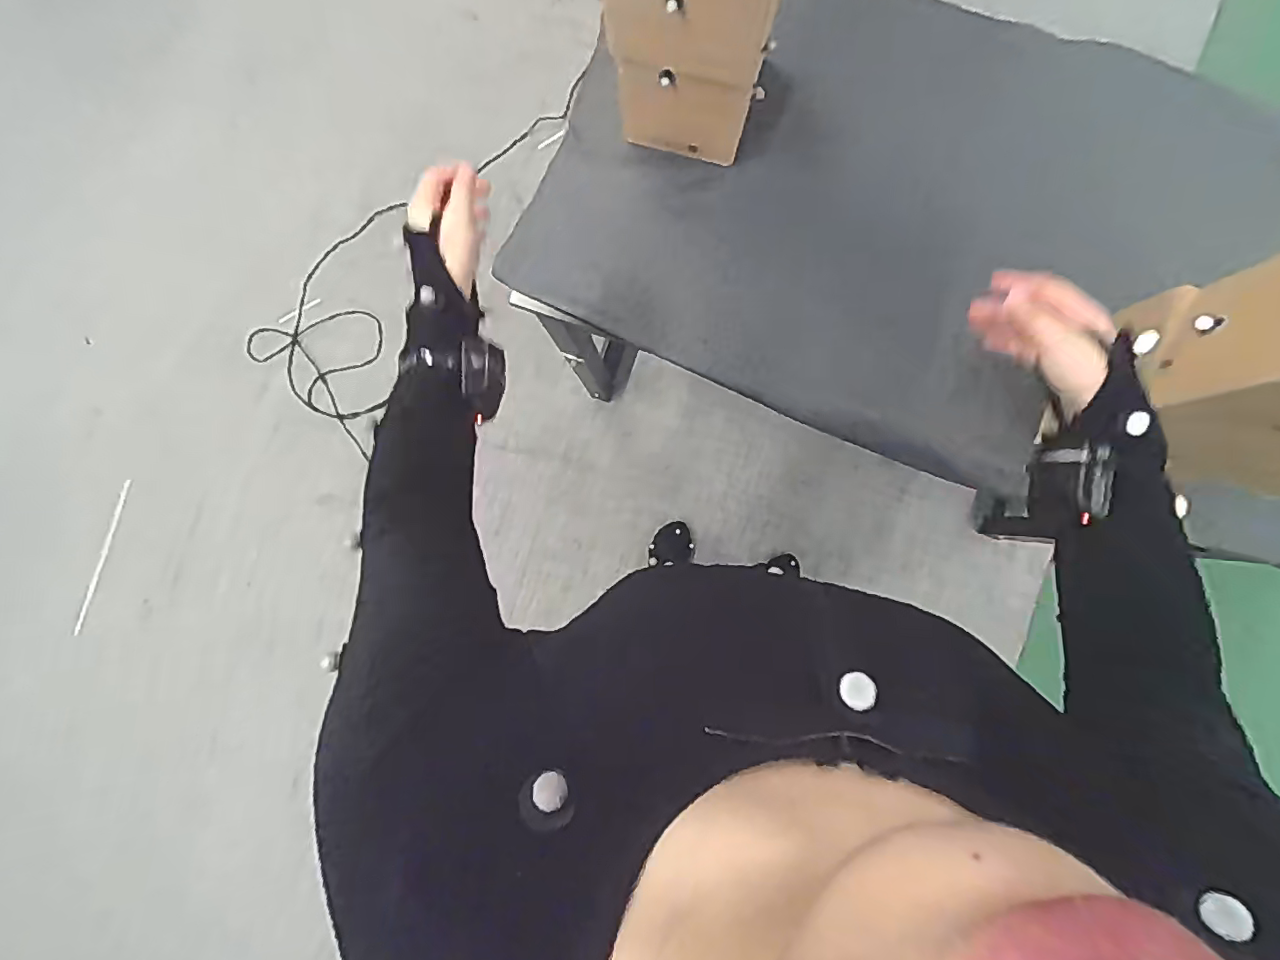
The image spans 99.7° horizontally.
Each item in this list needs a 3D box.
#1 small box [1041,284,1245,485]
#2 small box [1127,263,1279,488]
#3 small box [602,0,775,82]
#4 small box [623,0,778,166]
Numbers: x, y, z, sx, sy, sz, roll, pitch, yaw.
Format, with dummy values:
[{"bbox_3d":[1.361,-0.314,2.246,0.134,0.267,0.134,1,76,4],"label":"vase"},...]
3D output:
[{"bbox_3d":[0.646,-0.103,0.664,0.168,0.176,0.179,21,88,5],"label":"small box"},{"bbox_3d":[0.633,-0.100,0.502,0.179,0.176,0.168,31,88,5],"label":"small box"},{"bbox_3d":[0.064,-0.556,0.552,0.179,0.176,0.168,17,89,4],"label":"small box"},{"bbox_3d":[0.077,-0.565,0.718,0.168,0.176,0.179,16,89,3],"label":"small box"}]
